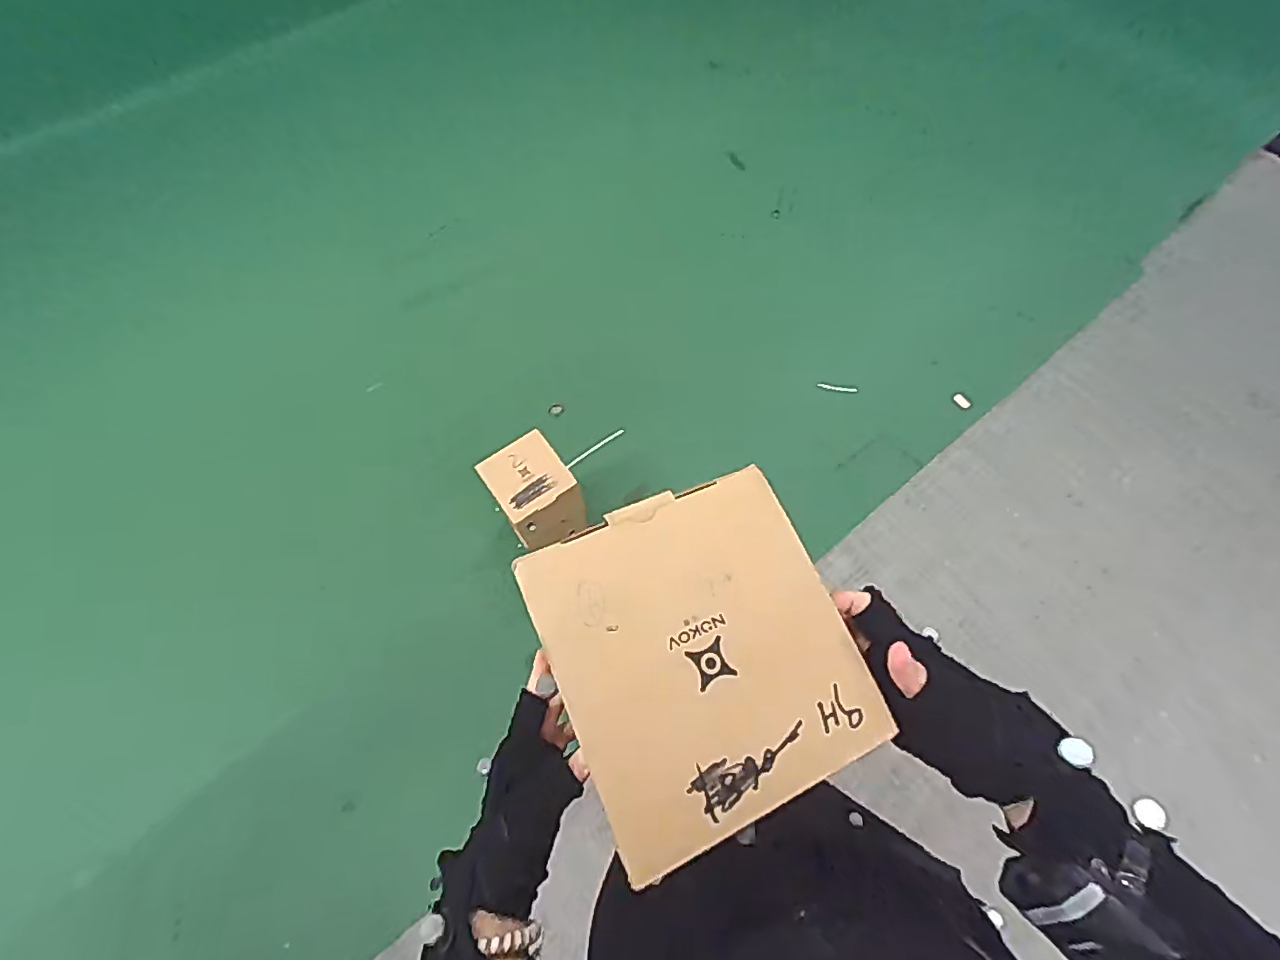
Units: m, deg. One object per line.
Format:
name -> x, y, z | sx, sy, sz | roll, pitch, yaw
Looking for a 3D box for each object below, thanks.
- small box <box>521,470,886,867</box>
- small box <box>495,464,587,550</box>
small box -> 0.024, 0.121, 0.385 | 0.168, 0.176, 0.179 | -20, 74, -14
small box -> -0.252, 0.095, 1.422 | 0.168, 0.176, 0.179 | -32, 70, -13
